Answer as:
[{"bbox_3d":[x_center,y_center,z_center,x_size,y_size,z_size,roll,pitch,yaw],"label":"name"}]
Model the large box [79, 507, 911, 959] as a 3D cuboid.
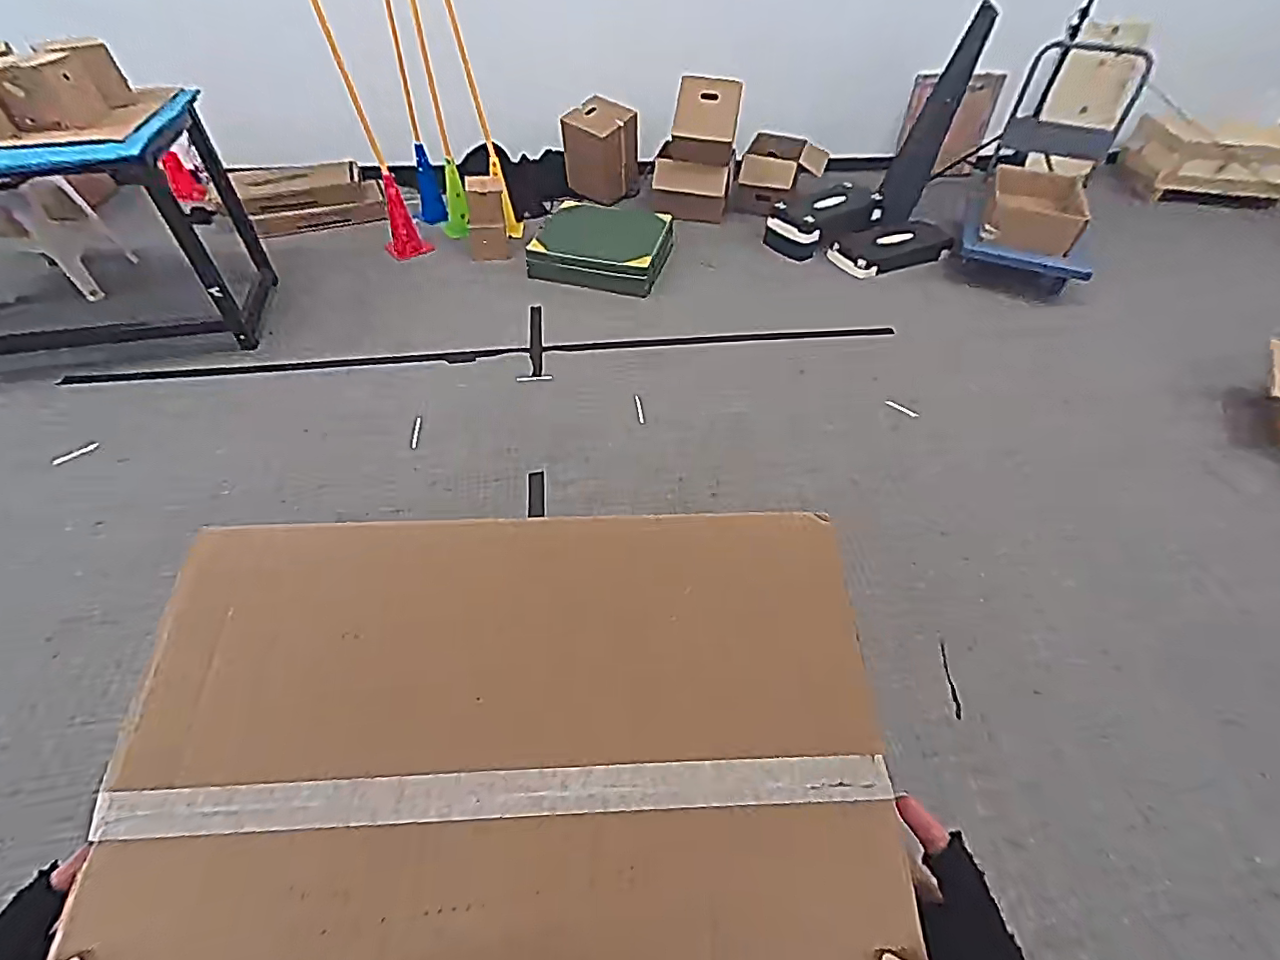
[{"bbox_3d":[-0.074,0.230,0.428,0.408,0.320,0.320,-1,64,-3],"label":"large box"}]
